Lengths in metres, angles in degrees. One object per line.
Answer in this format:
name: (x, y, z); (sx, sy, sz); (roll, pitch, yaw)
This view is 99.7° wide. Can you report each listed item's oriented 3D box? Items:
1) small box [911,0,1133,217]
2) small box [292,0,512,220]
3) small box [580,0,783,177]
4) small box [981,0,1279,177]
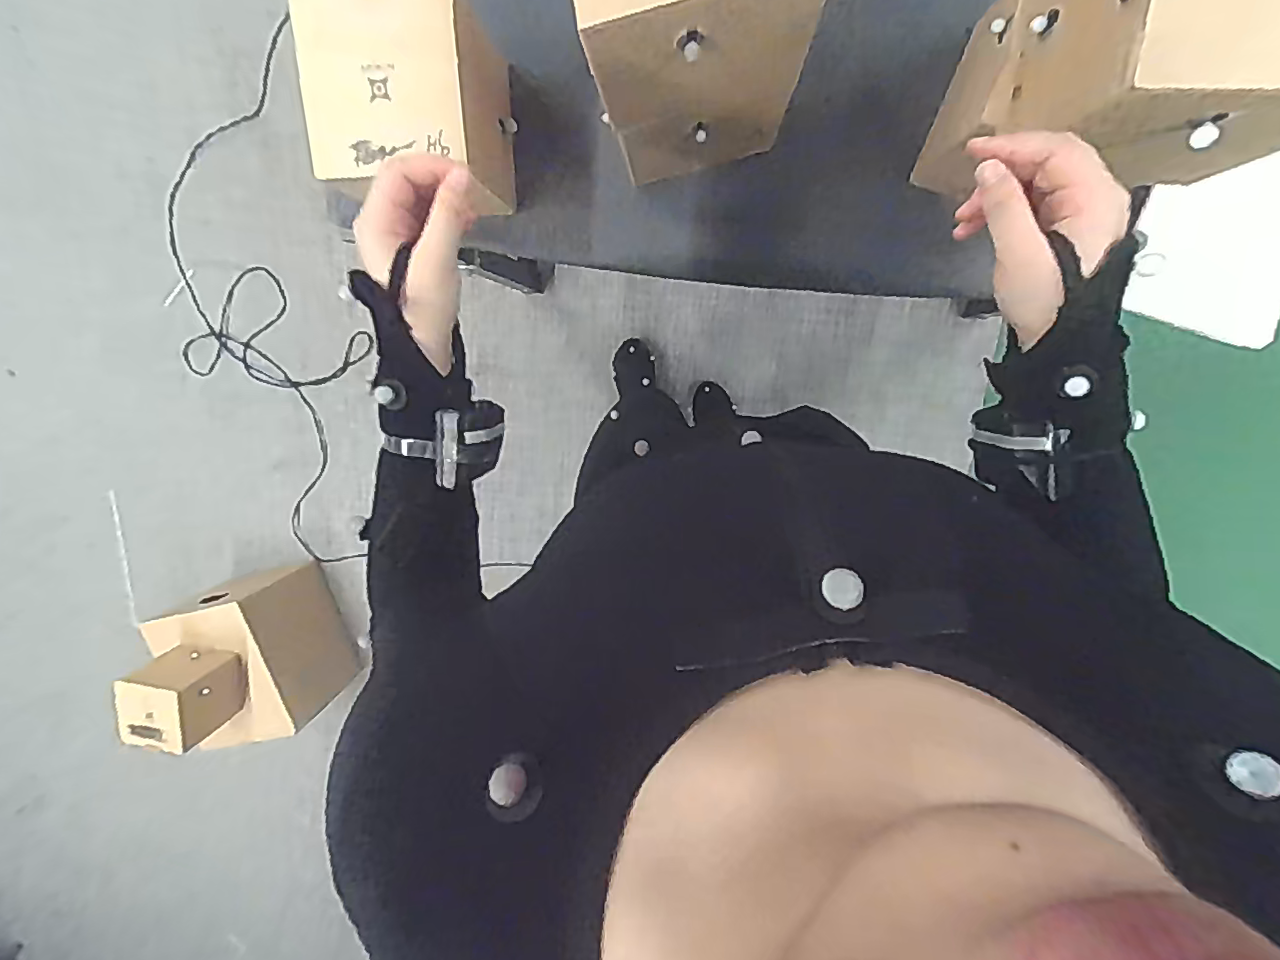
small box: (0.411, -0.400, 0.551); (0.168, 0.176, 0.179); (20, 104, 2)
small box: (-0.255, -0.416, 0.620); (0.168, 0.176, 0.179); (0, 103, 5)
small box: (0.043, -0.454, 0.582); (0.179, 0.176, 0.168); (-11, 102, 8)
small box: (0.395, -0.341, 0.397); (0.179, 0.176, 0.168); (4, 102, 6)
